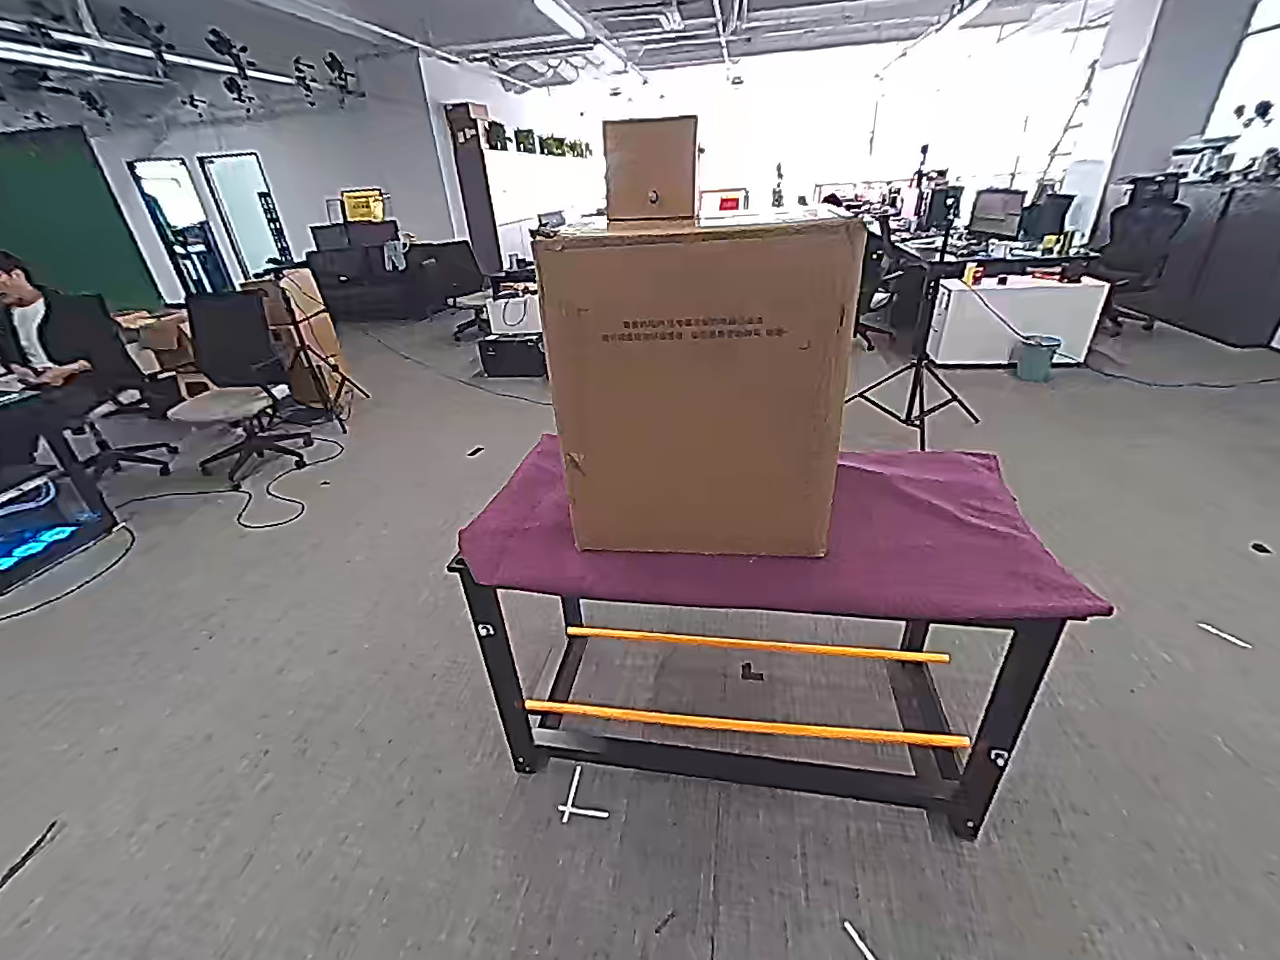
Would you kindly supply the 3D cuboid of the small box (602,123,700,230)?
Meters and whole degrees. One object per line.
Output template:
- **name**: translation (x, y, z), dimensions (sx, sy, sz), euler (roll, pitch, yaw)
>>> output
- **small box**: translation (0.026, -0.595, 1.070), dimensions (0.179, 0.176, 0.168), euler (2, 29, 10)
